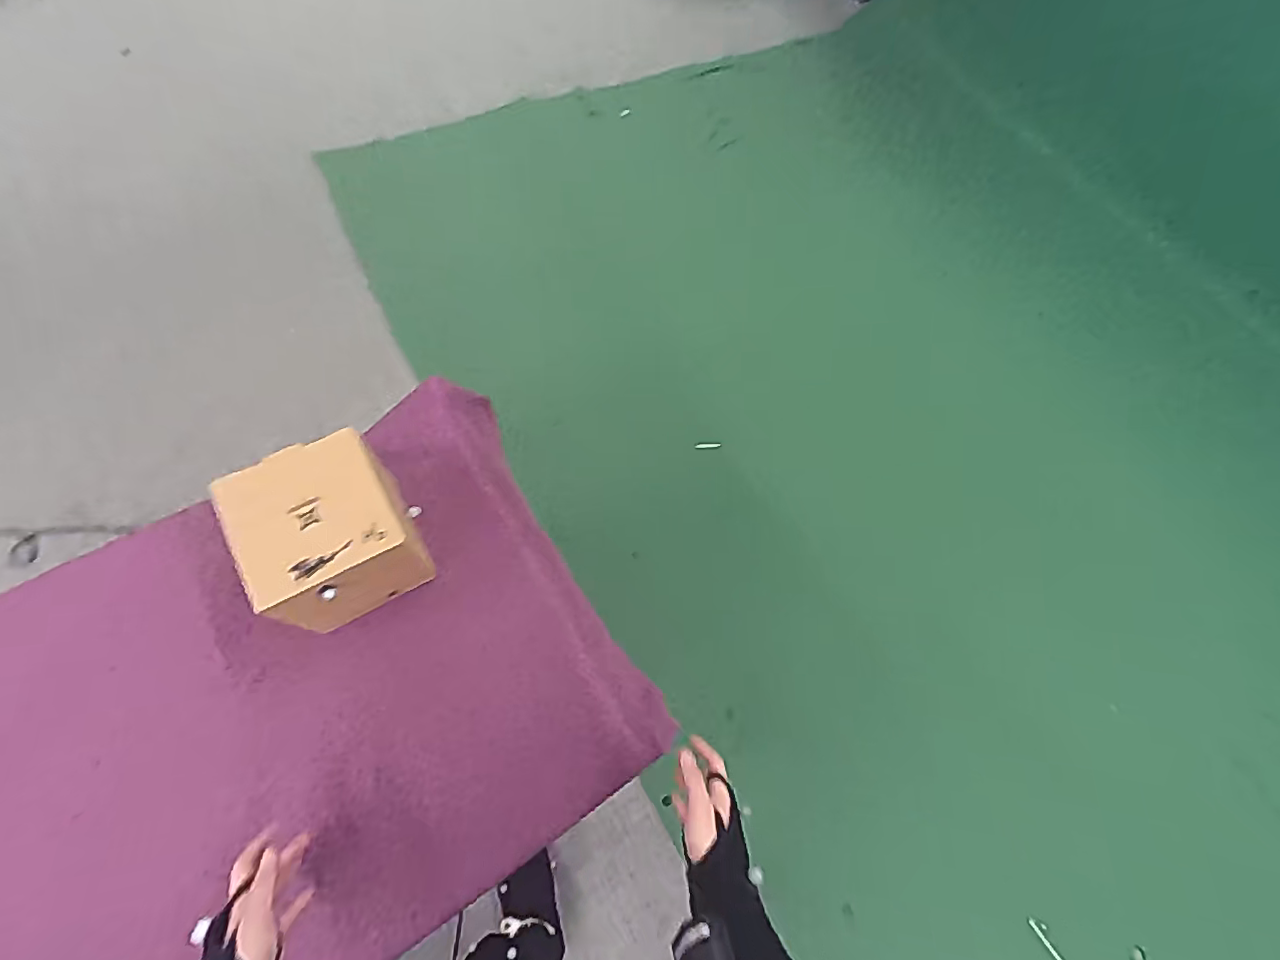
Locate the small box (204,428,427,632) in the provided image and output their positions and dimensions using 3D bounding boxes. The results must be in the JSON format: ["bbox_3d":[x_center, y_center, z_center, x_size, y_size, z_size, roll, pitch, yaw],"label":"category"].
[{"bbox_3d":[-0.399,0.070,0.691,0.168,0.176,0.179,-28,71,-17],"label":"small box"}]
